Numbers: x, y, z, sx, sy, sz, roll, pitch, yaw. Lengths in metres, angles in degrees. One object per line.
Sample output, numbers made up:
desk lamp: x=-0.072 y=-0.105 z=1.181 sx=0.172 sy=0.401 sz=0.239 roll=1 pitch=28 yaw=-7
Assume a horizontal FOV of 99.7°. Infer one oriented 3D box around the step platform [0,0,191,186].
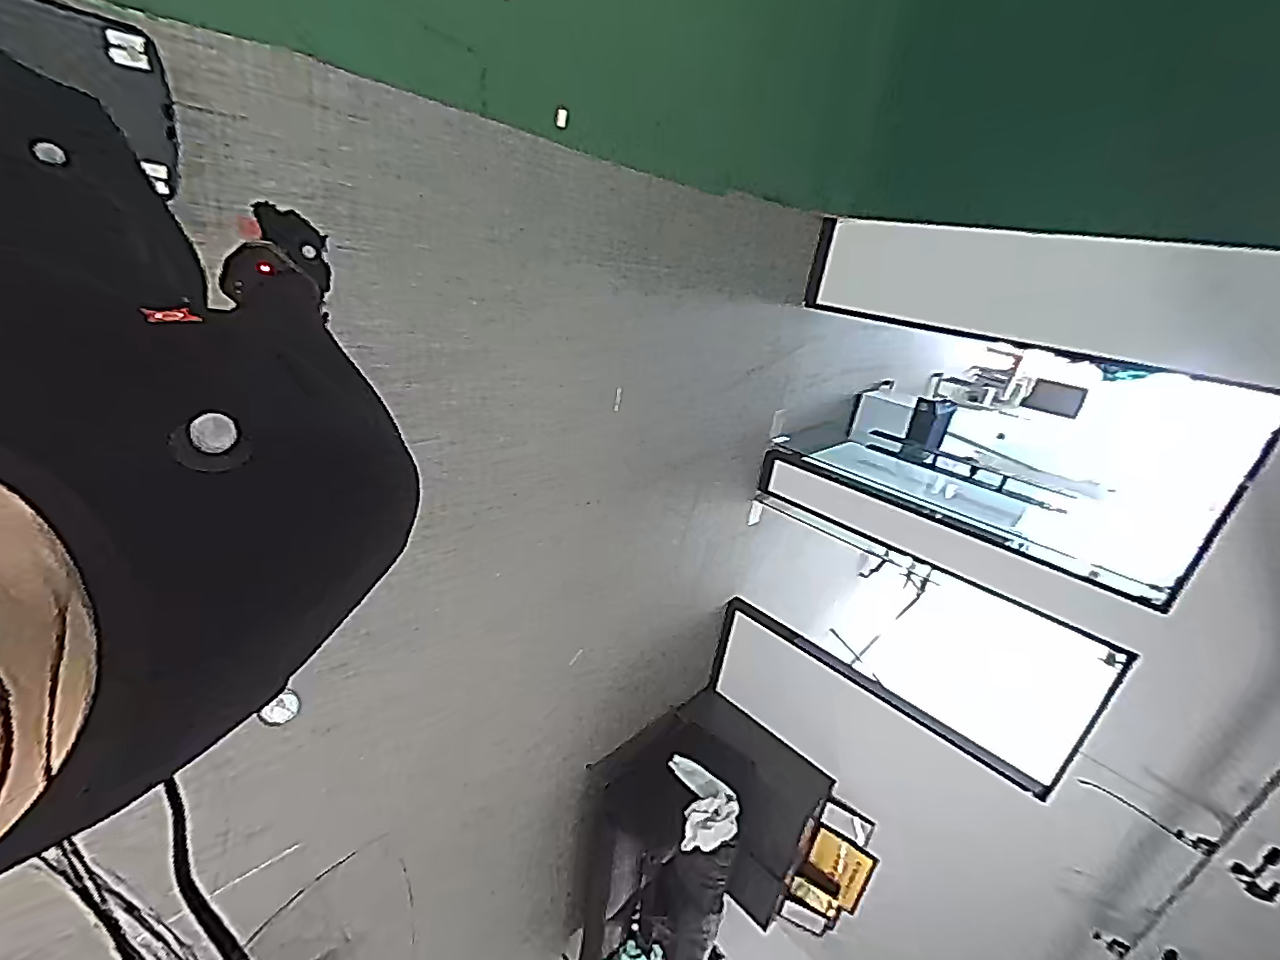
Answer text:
step platform: x=-1.006 y=-0.579 z=0.662 sx=0.684 sy=0.204 sz=0.286 roll=-14 pitch=123 yaw=-44
